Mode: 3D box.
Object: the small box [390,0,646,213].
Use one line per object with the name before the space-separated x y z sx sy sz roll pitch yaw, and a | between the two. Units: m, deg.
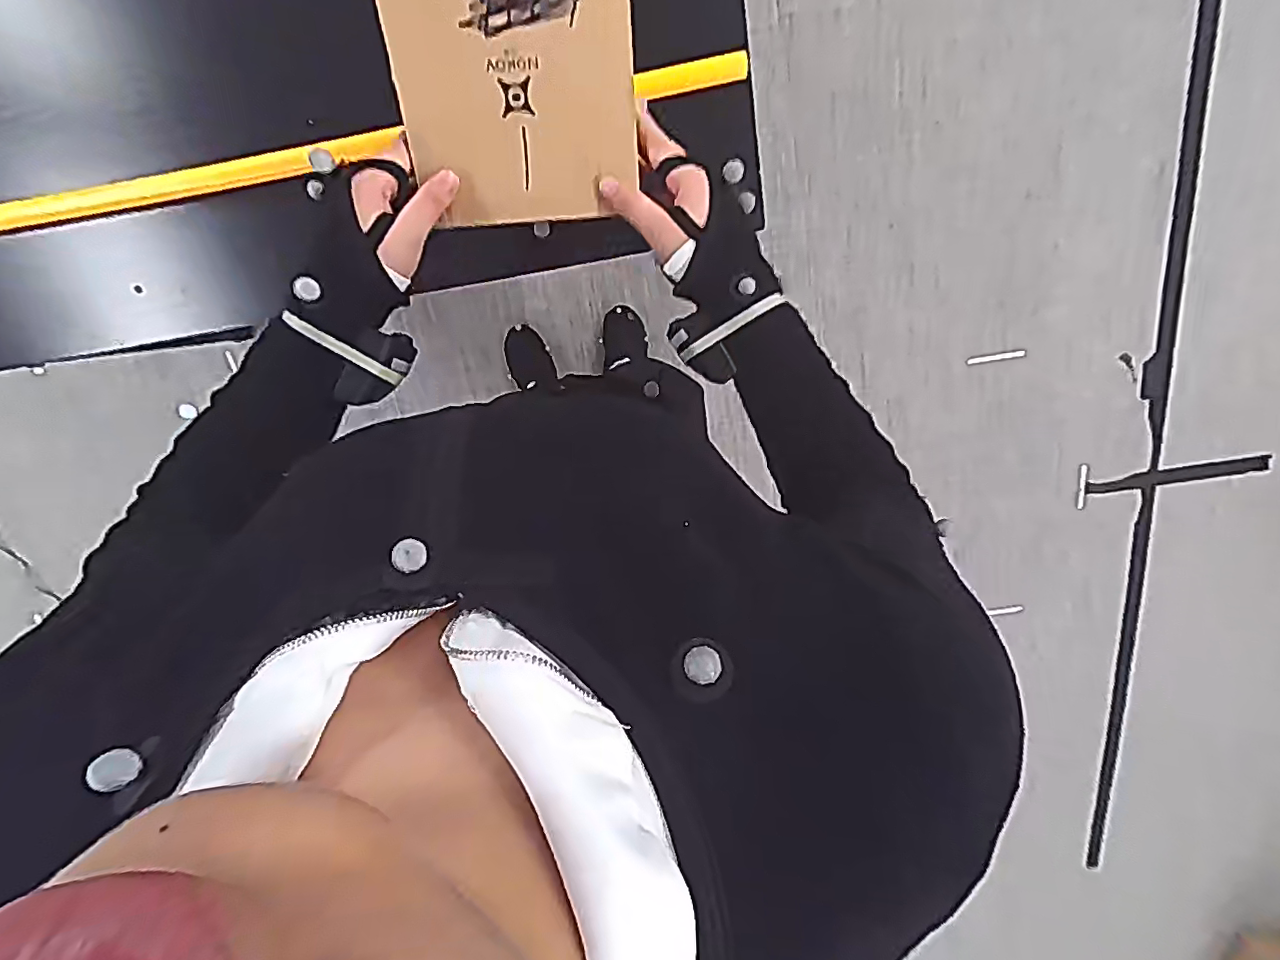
small box | -0.087 -0.320 0.442 0.168 0.176 0.179 -5 118 -2
